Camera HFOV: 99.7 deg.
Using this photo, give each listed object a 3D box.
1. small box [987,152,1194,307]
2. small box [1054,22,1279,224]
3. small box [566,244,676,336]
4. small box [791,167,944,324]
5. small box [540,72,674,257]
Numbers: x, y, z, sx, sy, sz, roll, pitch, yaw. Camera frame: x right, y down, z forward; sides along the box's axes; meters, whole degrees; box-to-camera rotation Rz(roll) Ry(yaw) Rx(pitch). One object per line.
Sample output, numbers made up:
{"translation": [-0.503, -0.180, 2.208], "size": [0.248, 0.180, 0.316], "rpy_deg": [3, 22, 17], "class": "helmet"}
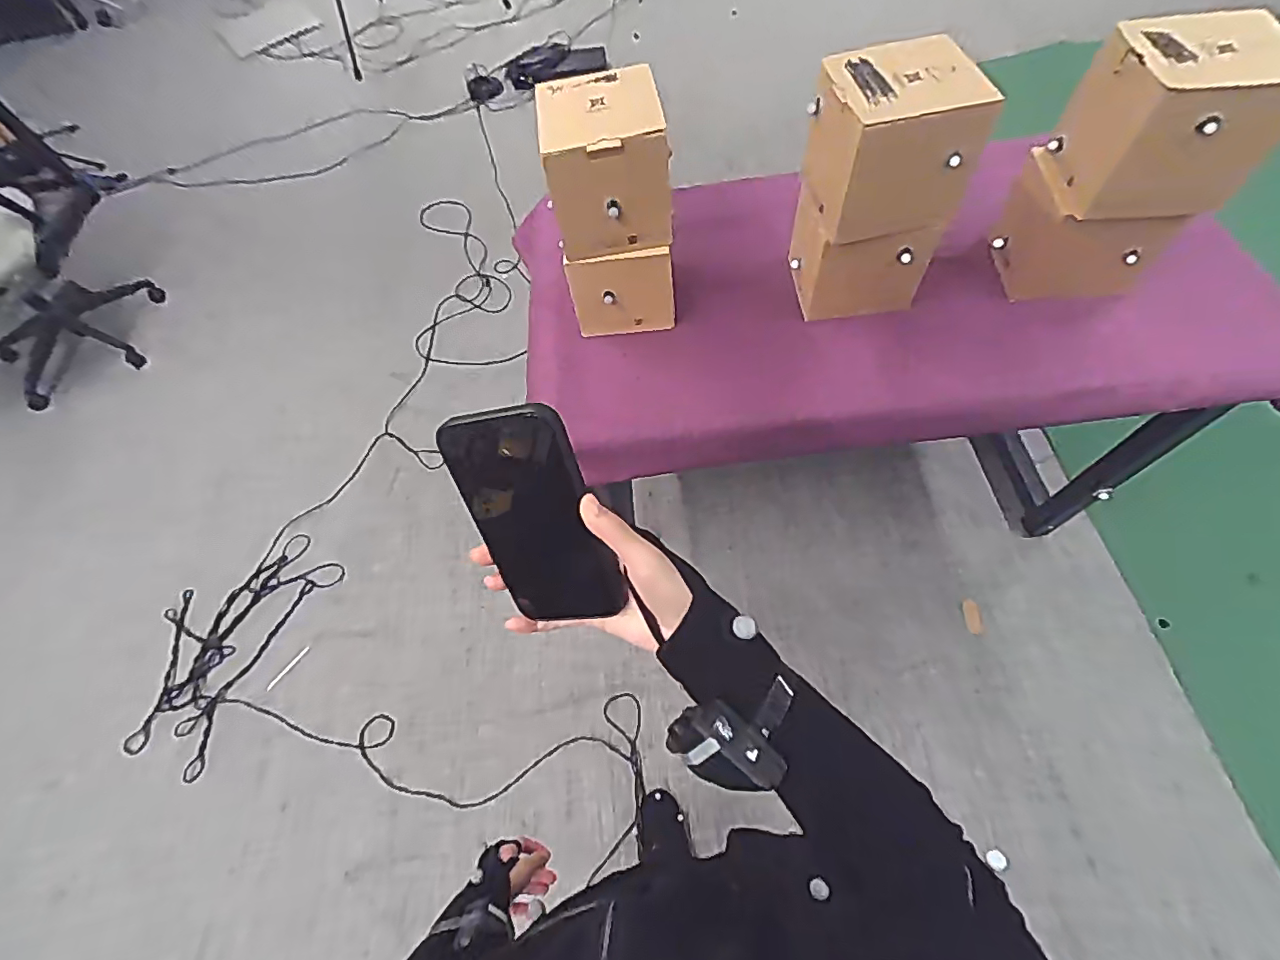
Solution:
{"translation": [0.701, -0.396, 0.865], "size": [0.179, 0.176, 0.168], "rpy_deg": [1, 61, 7], "class": "small box"}
{"translation": [0.693, -0.461, 0.715], "size": [0.179, 0.176, 0.168], "rpy_deg": [1, 61, 6], "class": "small box"}
{"translation": [-0.027, -0.366, 0.936], "size": [0.168, 0.176, 0.179], "rpy_deg": [-4, 61, 5], "class": "small box"}
{"translation": [0.362, -0.381, 0.896], "size": [0.179, 0.176, 0.168], "rpy_deg": [-5, 61, 4], "class": "small box"}
{"translation": [-0.044, -0.451, 0.796], "size": [0.168, 0.176, 0.179], "rpy_deg": [-9, 62, 2], "class": "small box"}
